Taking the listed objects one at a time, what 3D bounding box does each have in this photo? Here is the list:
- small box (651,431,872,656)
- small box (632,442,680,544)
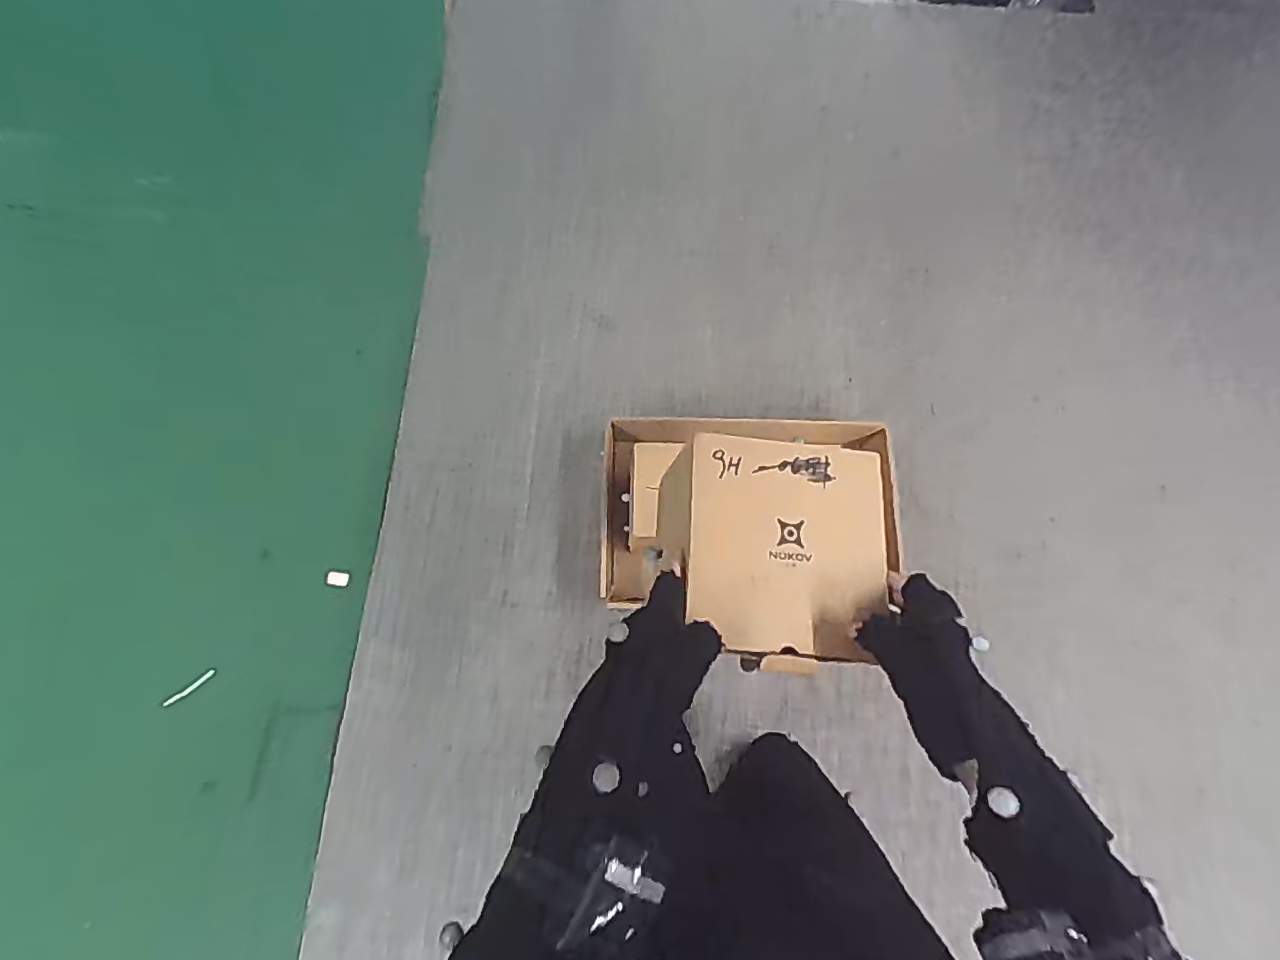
[{"bbox_3d":[0.105,0.068,0.527,0.168,0.176,0.179,6,76,-6],"label":"small box"},{"bbox_3d":[0.076,0.032,1.015,0.179,0.176,0.168,1,77,-1],"label":"small box"}]
